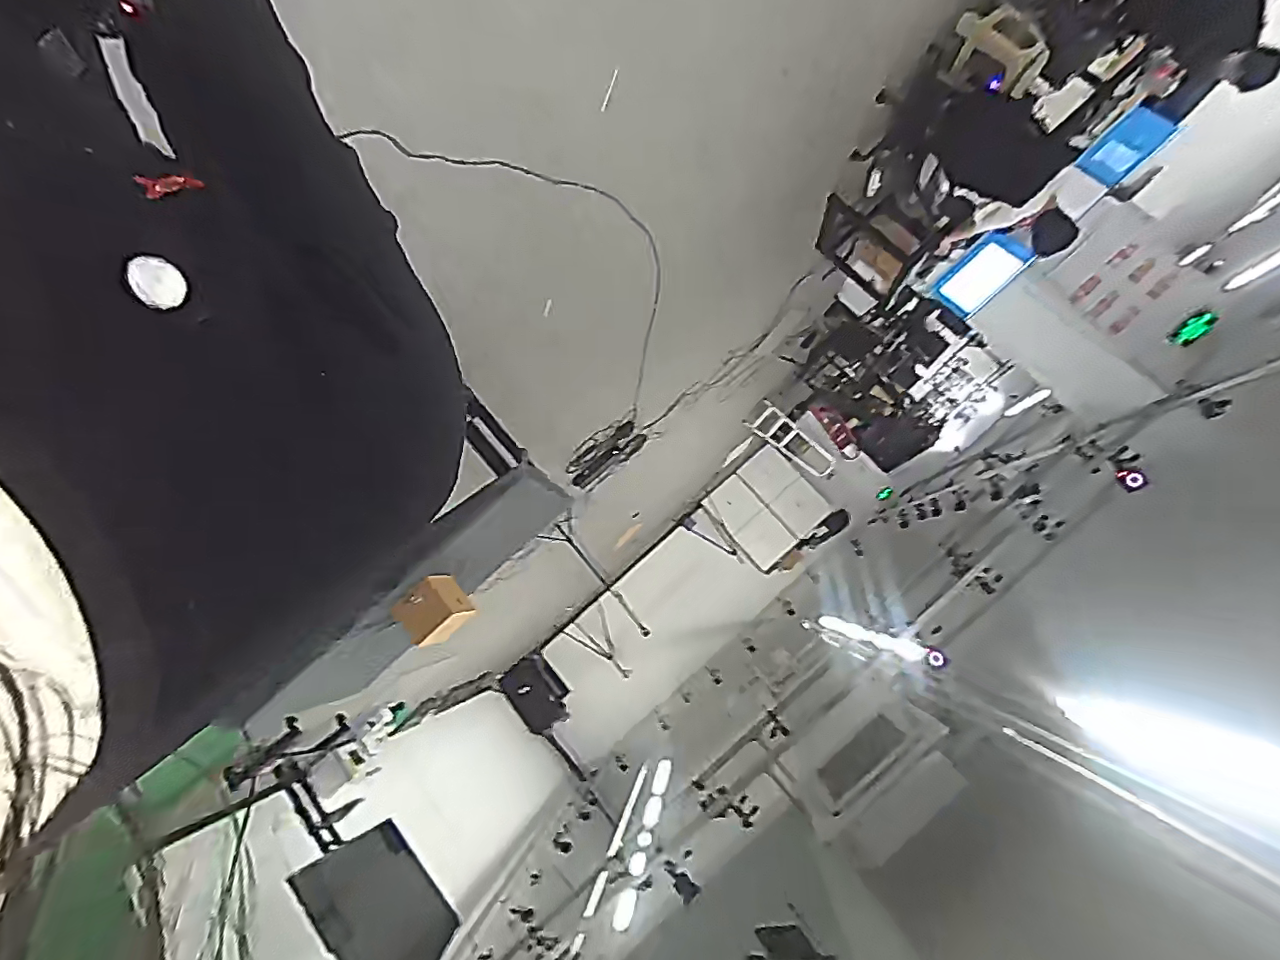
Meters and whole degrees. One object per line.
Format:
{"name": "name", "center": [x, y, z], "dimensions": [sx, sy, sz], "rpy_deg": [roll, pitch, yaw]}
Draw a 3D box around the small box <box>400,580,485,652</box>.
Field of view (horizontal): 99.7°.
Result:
{"name": "small box", "center": [-0.669, 0.455, 1.836], "dimensions": [0.168, 0.176, 0.179], "rpy_deg": [-44, 166, 0]}
